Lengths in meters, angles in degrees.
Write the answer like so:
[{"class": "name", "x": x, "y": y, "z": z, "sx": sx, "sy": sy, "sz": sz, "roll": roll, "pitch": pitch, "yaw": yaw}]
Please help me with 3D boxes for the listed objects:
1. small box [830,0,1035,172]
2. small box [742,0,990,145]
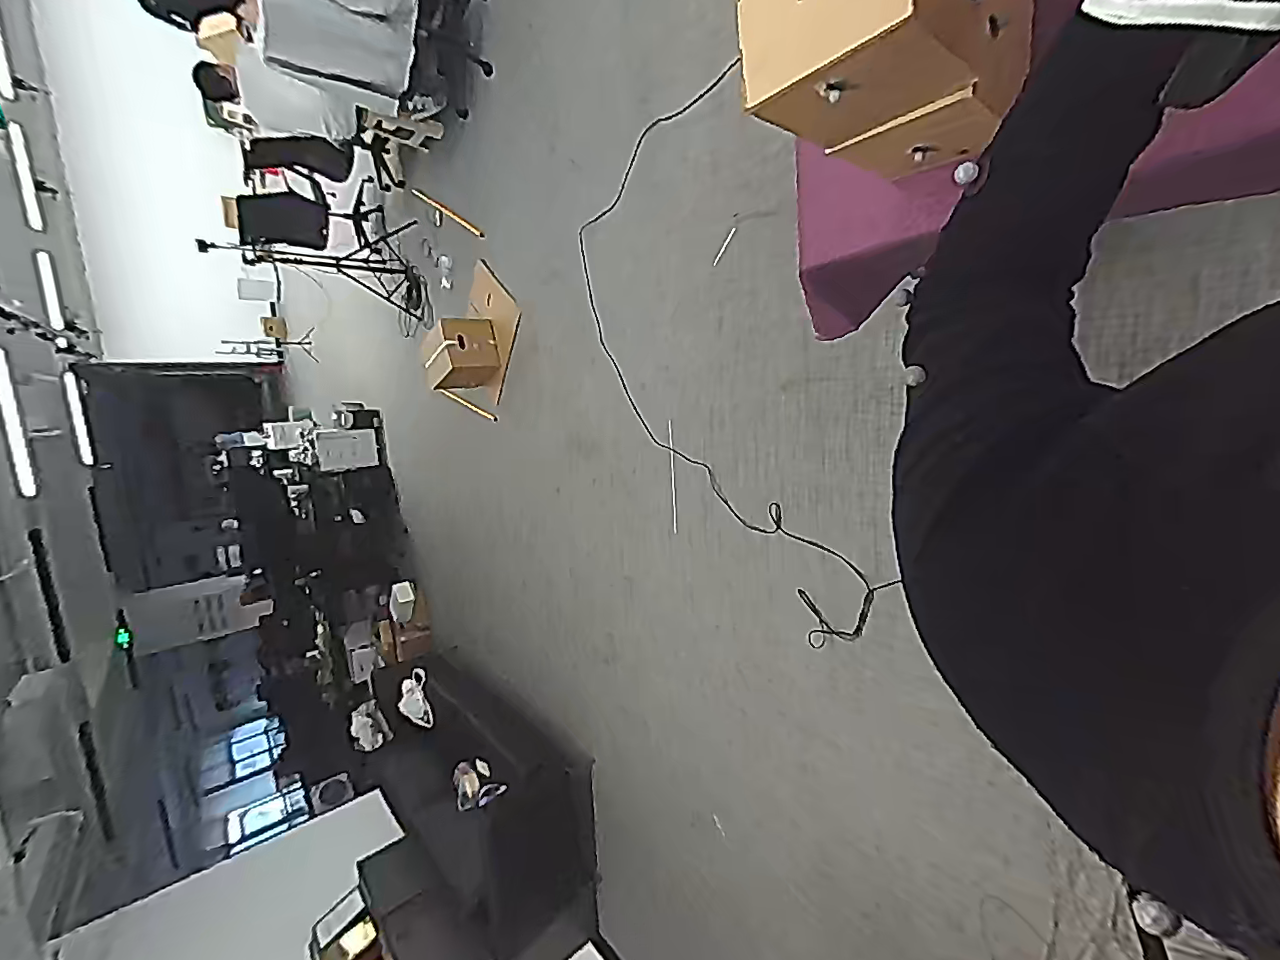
[{"class": "small box", "x": 0.345, "y": -0.489, "z": 0.643, "sx": 0.168, "sy": 0.176, "sz": 0.179, "roll": 9, "pitch": 105, "yaw": 49}, {"class": "small box", "x": 0.222, "y": -0.465, "z": 0.538, "sx": 0.179, "sy": 0.176, "sz": 0.168, "roll": 7, "pitch": 105, "yaw": 49}]
